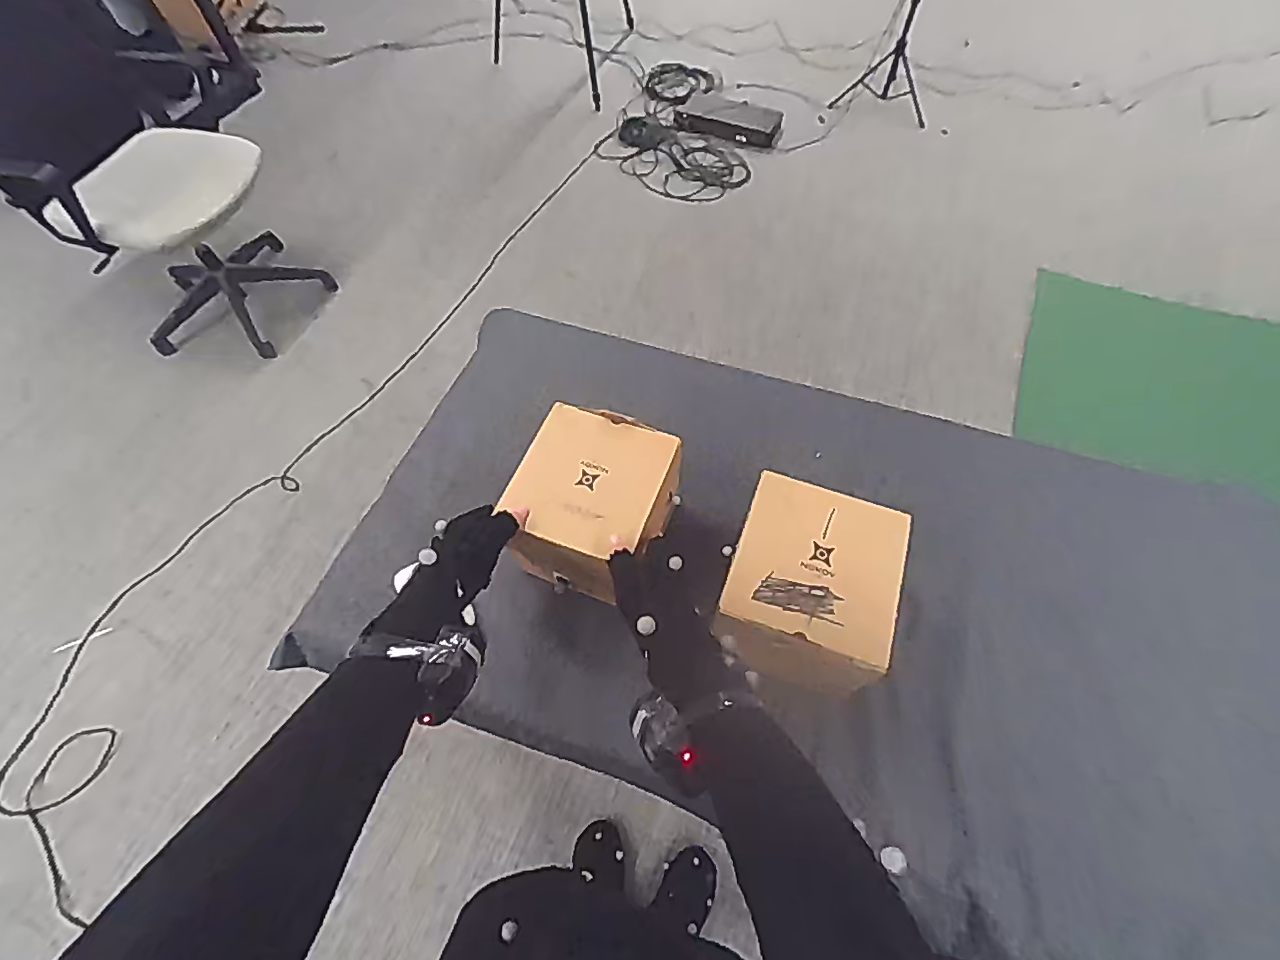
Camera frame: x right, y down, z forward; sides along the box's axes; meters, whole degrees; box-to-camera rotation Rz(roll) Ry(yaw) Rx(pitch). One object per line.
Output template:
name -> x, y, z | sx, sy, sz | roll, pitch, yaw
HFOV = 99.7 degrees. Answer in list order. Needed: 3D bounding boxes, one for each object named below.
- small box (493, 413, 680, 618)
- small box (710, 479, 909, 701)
small box -> -0.055, 0.049, 0.683 | 0.168, 0.176, 0.179 | 16, 62, 12
small box -> 0.184, 0.133, 0.623 | 0.168, 0.176, 0.179 | 18, 61, 12
